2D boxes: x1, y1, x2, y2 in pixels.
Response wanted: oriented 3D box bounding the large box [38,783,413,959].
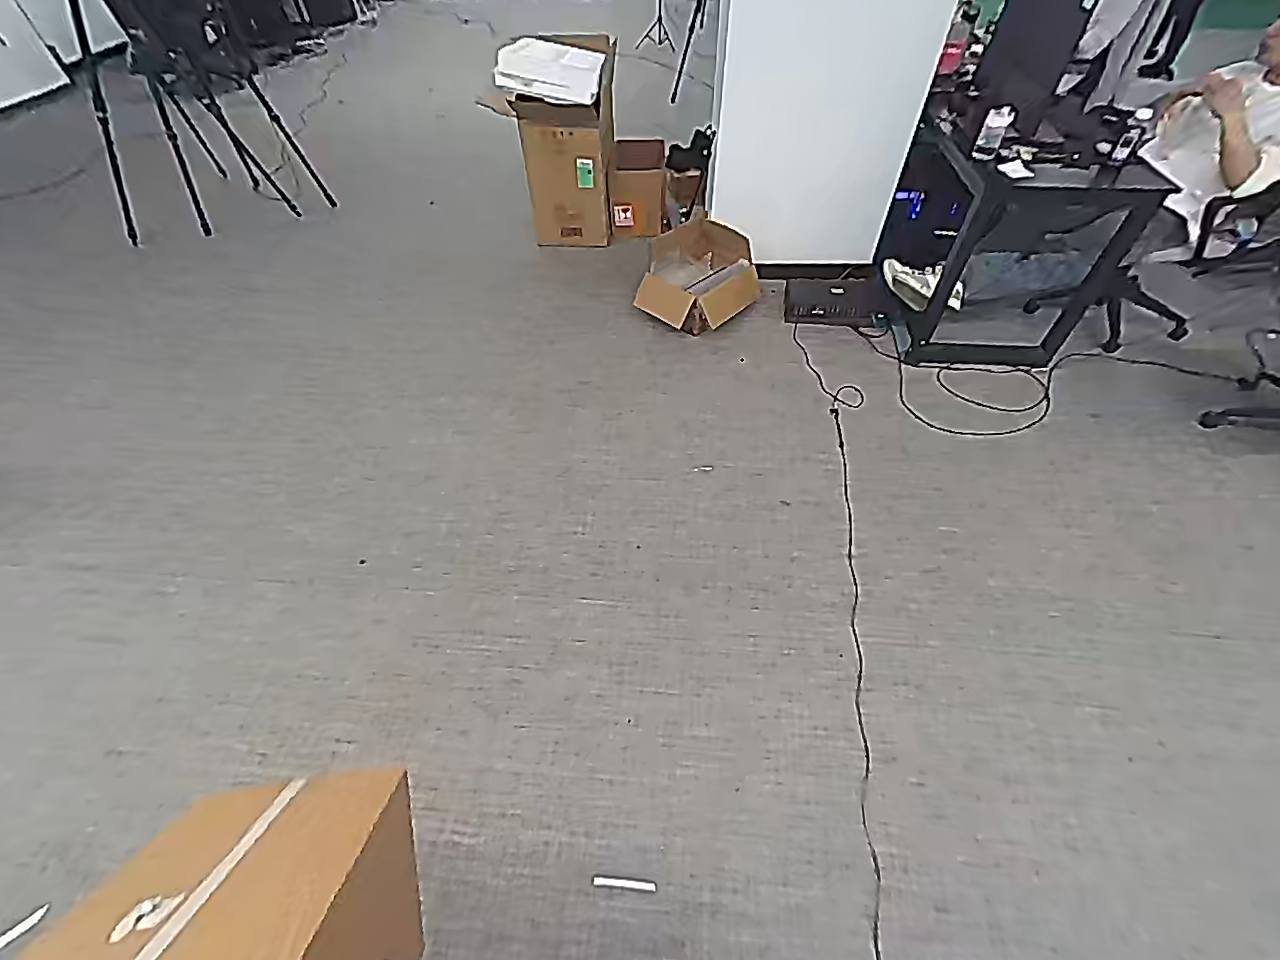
[{"bbox_3d":[-0.501,0.657,0.676,0.320,0.408,0.320,-5,91,-7],"label":"large box"}]
